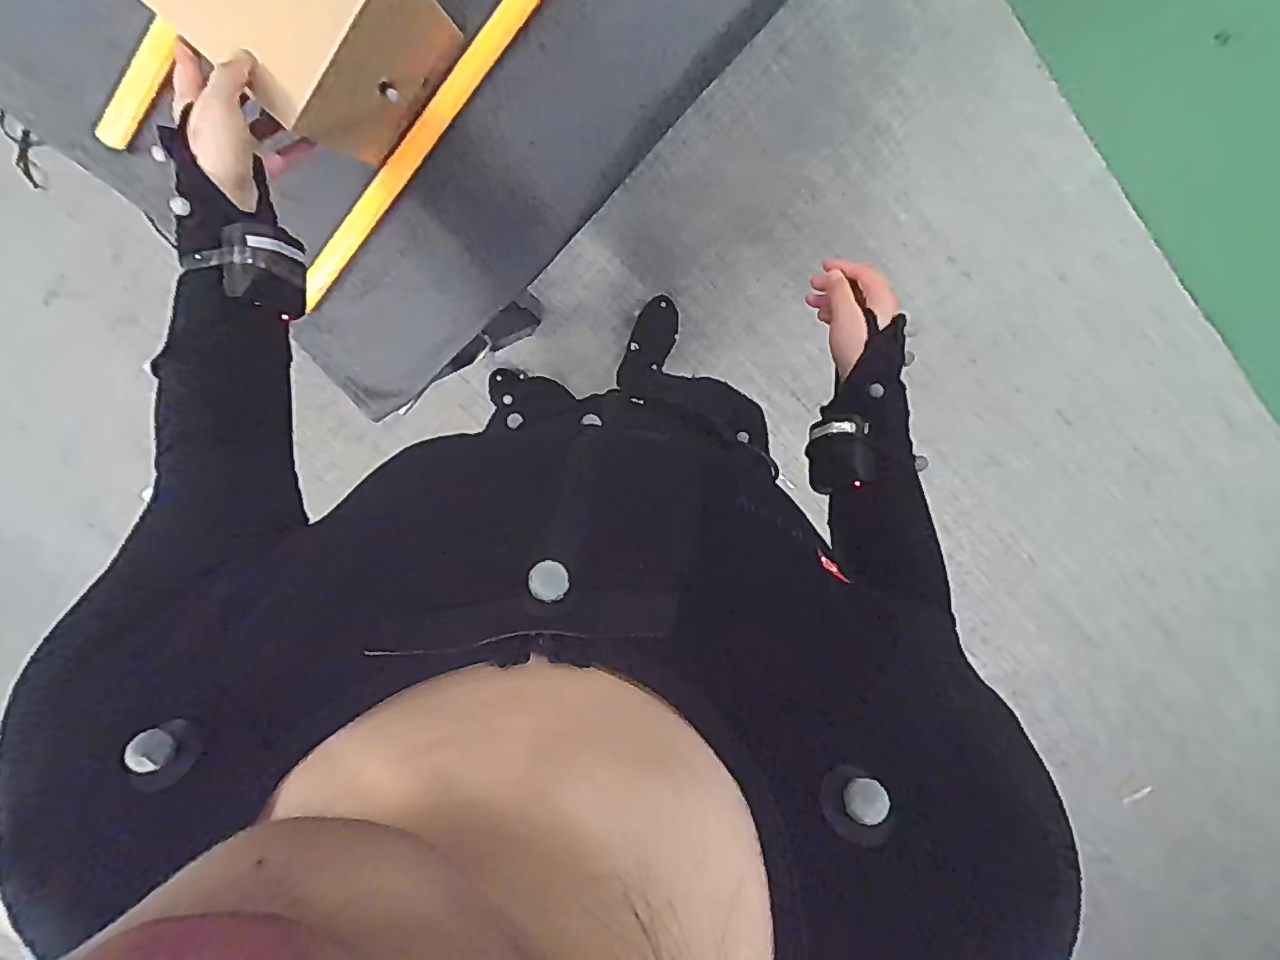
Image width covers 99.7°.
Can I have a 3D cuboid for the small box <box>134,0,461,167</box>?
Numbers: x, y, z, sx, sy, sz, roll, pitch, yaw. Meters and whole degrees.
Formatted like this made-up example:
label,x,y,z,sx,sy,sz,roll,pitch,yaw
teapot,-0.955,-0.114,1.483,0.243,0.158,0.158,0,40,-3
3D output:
label,x,y,z,sx,sy,sz,roll,pitch,yaw
small box,-0.300,-0.425,0.503,0.179,0.176,0.168,41,106,-12
